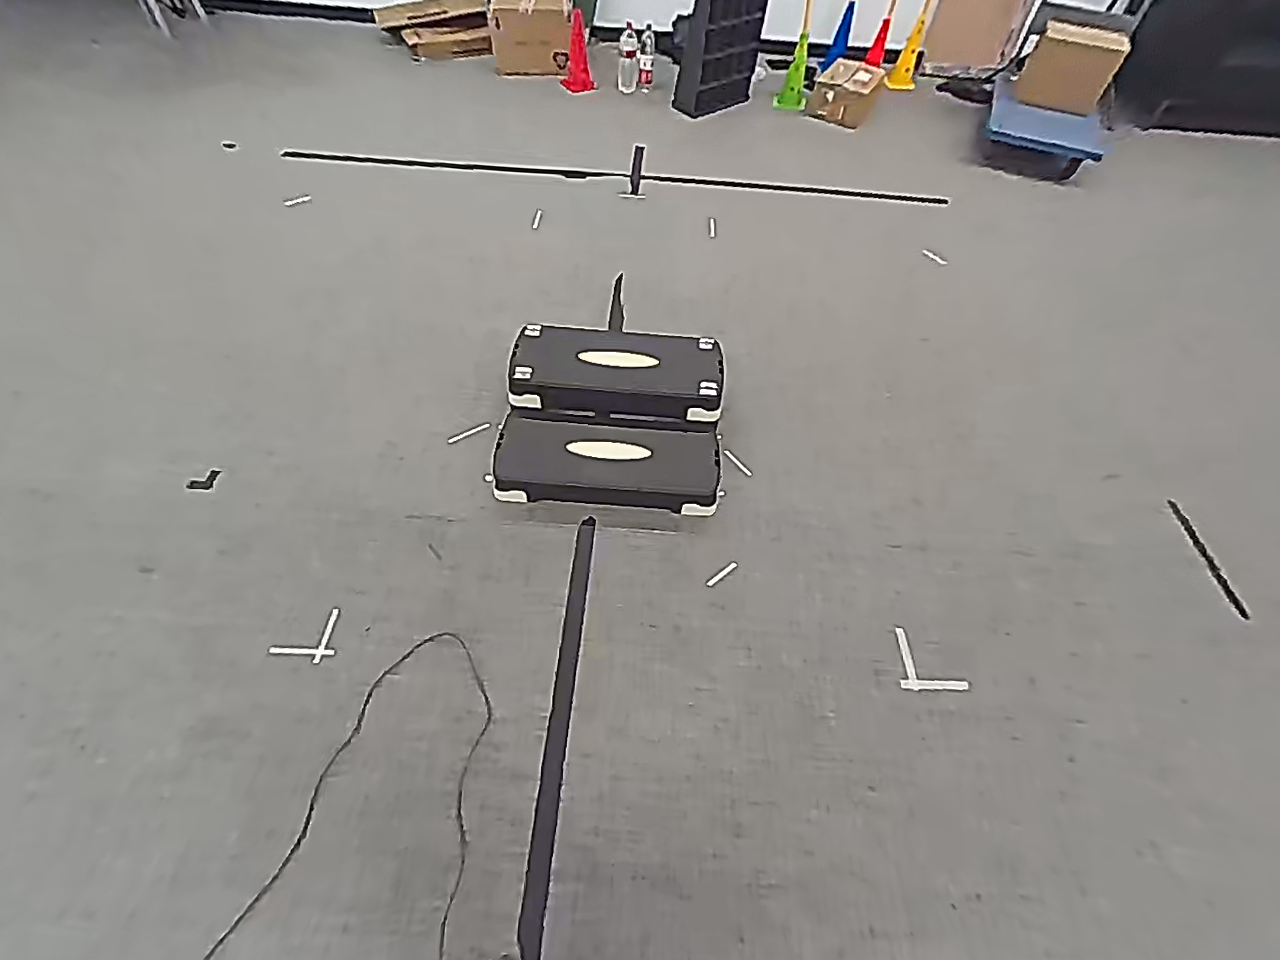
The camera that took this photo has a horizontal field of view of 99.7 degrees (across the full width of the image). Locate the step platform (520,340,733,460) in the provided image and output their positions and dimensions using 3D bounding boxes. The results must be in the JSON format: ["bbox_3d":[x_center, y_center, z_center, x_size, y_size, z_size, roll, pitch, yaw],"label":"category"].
[{"bbox_3d":[-0.041,-0.267,1.776,0.684,0.204,0.286,8,53,2],"label":"step platform"}]
